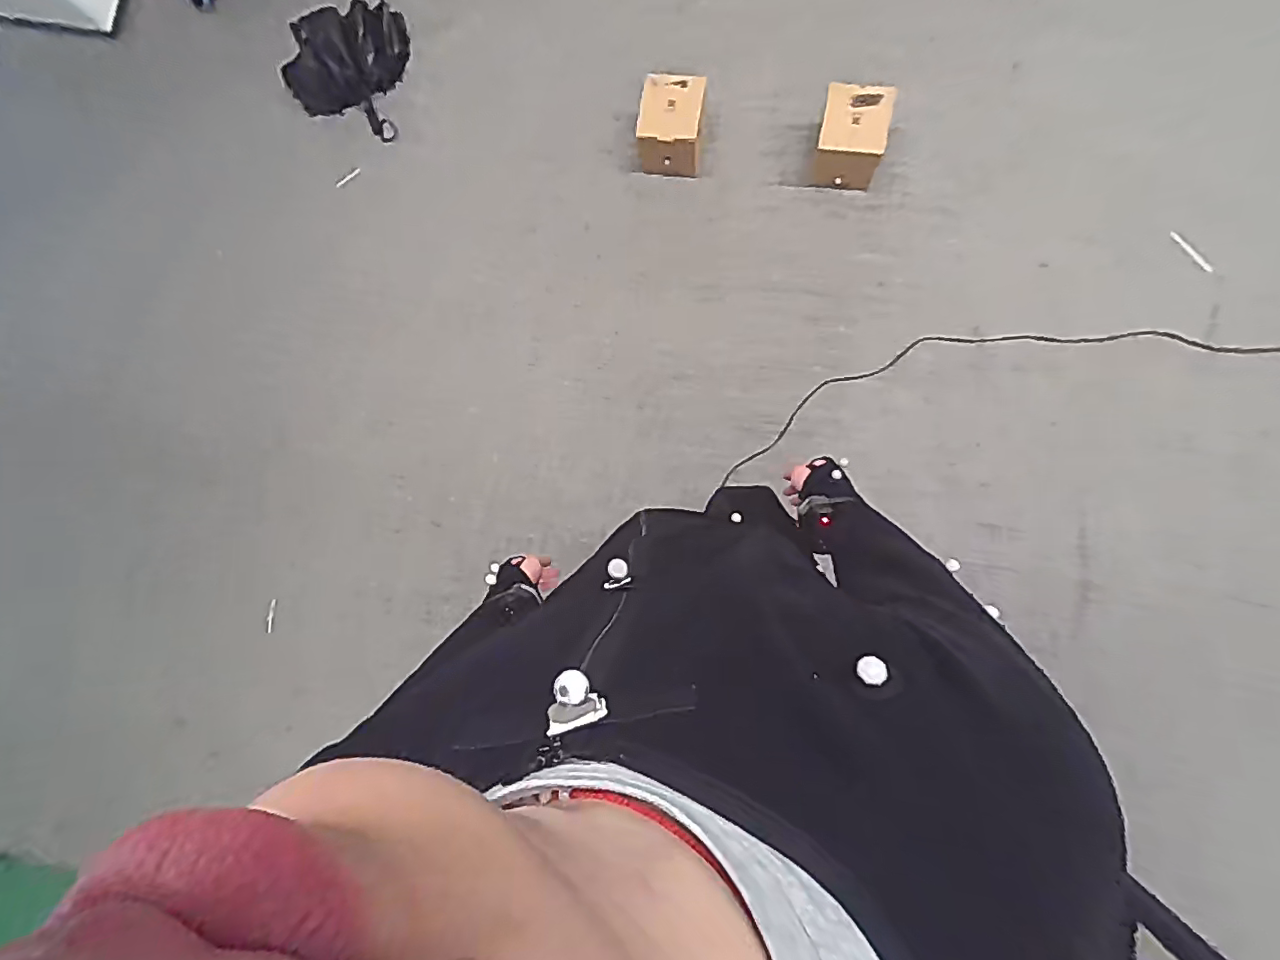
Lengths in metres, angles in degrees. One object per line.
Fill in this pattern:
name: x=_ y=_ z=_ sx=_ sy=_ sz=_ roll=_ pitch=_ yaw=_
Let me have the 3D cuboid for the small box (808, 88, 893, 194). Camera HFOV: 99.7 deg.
small box: x=0.559 y=-0.909 z=1.458 sx=0.168 sy=0.176 sz=0.179 roll=10 pitch=90 yaw=9

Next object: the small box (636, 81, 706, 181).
small box: x=0.093 y=-0.980 z=1.530 sx=0.168 sy=0.176 sz=0.179 roll=10 pitch=89 yaw=8
